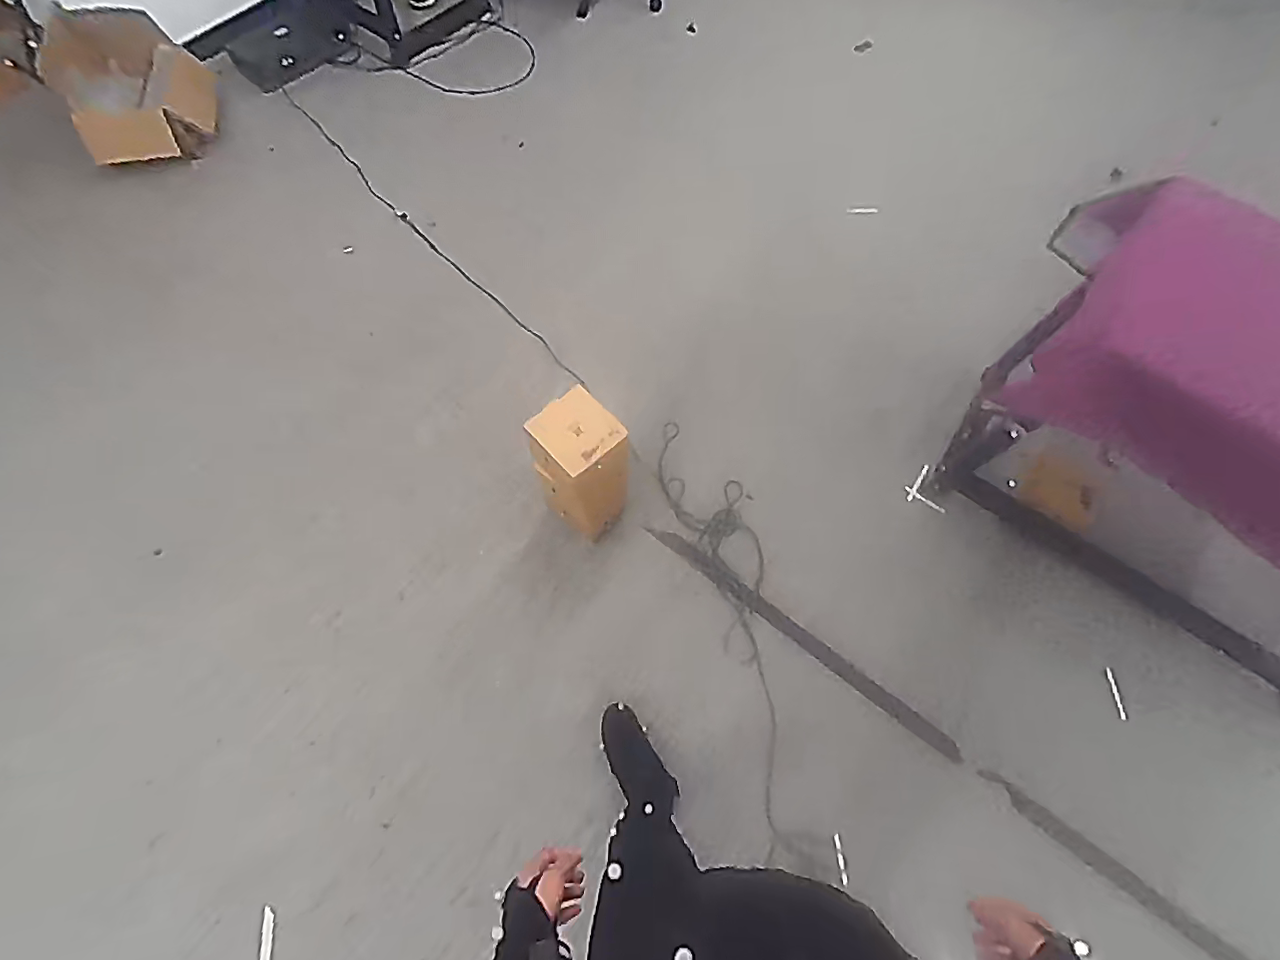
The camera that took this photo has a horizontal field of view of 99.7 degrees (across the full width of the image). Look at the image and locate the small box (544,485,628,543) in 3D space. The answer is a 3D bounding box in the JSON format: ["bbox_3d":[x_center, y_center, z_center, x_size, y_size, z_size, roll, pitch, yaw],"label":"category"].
[{"bbox_3d":[-0.152,0.058,1.554,0.179,0.176,0.168,36,70,12],"label":"small box"}]

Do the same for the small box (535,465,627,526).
[{"bbox_3d":[-0.144,-0.007,1.405,0.168,0.176,0.179,38,70,13],"label":"small box"}]

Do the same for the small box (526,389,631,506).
[{"bbox_3d":[-0.138,-0.070,1.253,0.168,0.176,0.179,-40,73,-17],"label":"small box"}]
